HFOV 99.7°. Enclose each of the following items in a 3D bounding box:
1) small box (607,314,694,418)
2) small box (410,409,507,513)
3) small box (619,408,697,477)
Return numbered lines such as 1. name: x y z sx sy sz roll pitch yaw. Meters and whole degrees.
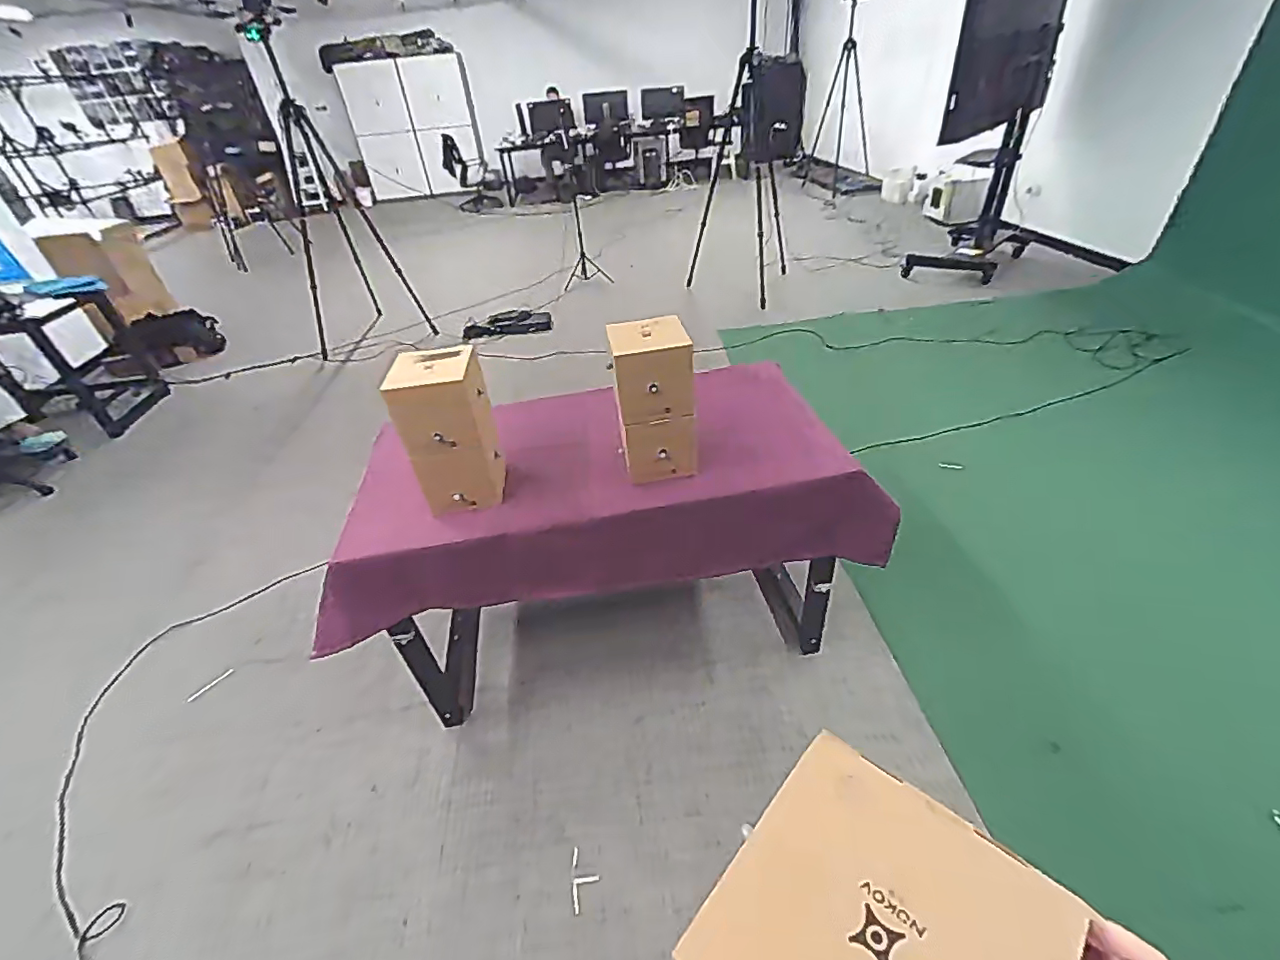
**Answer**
1. small box: 0.024 -0.250 1.208 0.168 0.176 0.179 -9 37 -4
2. small box: -0.417 -0.046 1.278 0.168 0.176 0.179 -8 39 -2
3. small box: 0.042 -0.120 1.309 0.168 0.176 0.179 -9 38 -4
